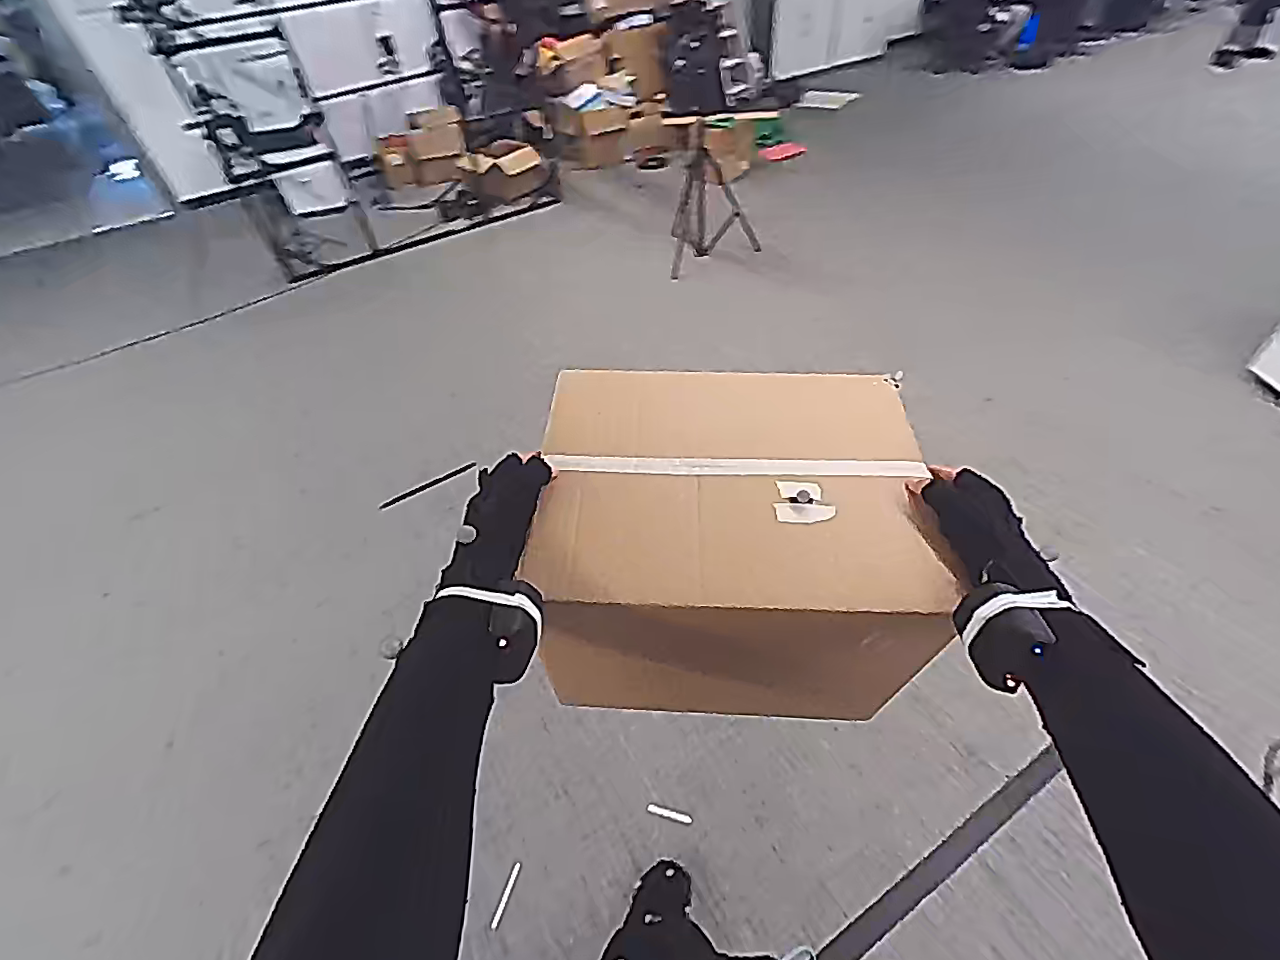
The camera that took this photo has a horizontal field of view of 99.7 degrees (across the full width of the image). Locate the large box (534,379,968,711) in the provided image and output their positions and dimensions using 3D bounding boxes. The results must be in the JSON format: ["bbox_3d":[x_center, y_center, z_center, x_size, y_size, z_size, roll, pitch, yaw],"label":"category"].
[{"bbox_3d":[0.106,0.089,0.698,0.408,0.320,0.320,2,51,3],"label":"large box"}]
